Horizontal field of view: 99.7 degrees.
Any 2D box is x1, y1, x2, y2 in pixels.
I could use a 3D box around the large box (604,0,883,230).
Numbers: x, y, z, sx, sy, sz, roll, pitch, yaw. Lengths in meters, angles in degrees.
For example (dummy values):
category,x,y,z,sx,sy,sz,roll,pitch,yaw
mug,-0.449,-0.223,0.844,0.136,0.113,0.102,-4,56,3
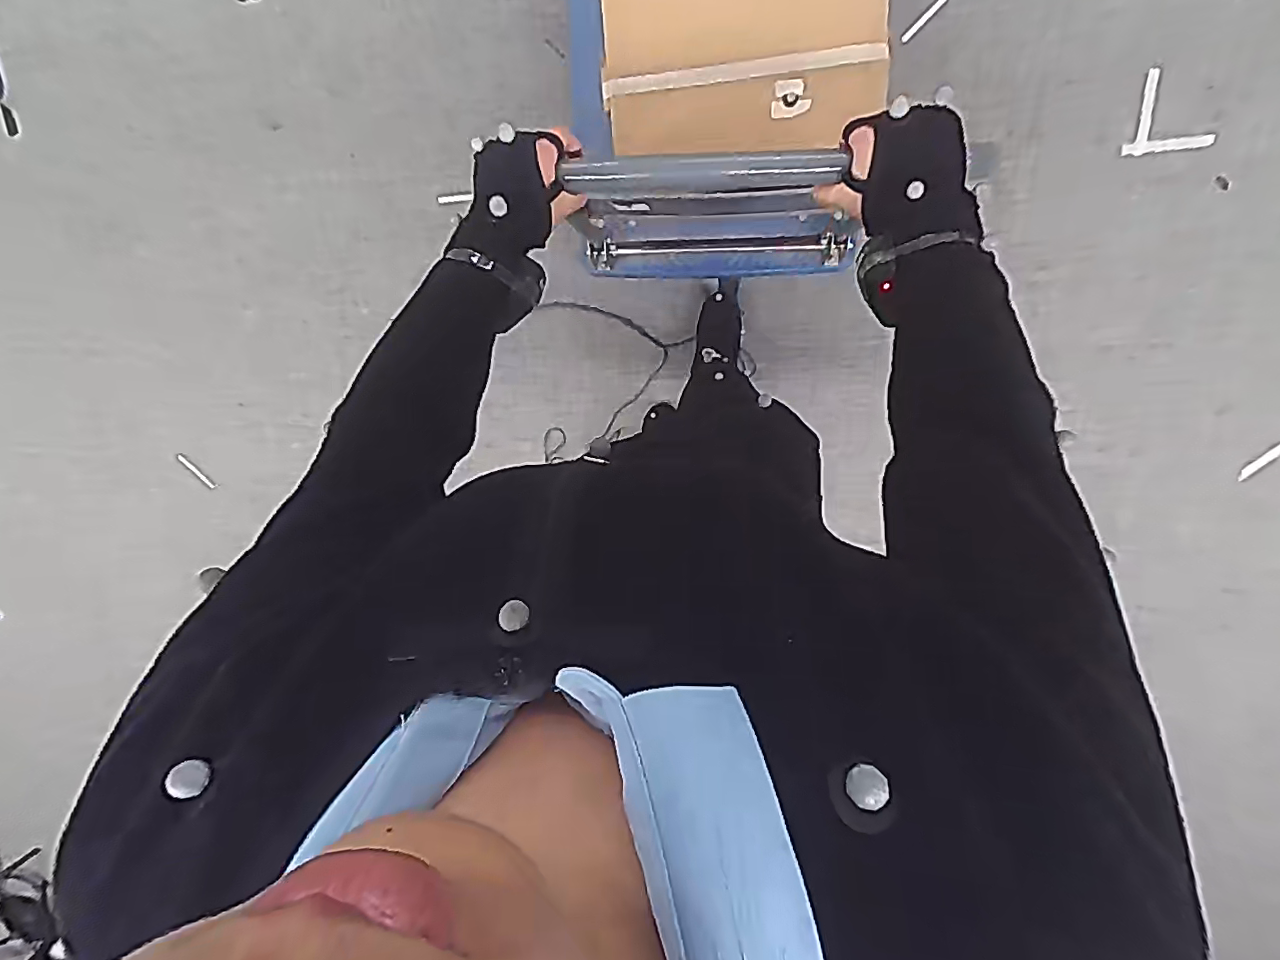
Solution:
category,x,y,z,sx,sy,sz,roll,pitch,yaw
large box,0.167,-0.649,0.951,0.408,0.320,0.320,-3,107,6
